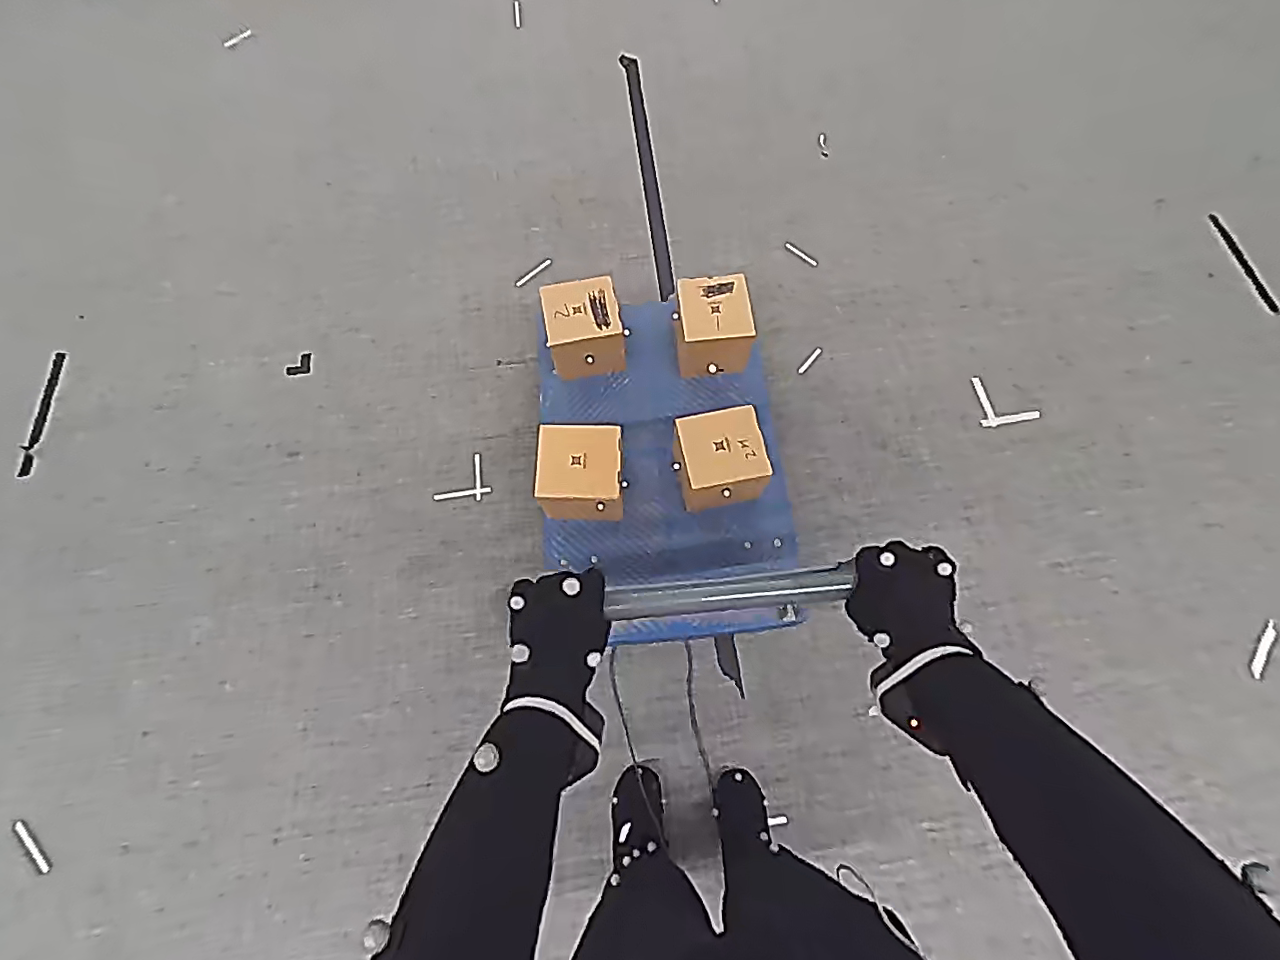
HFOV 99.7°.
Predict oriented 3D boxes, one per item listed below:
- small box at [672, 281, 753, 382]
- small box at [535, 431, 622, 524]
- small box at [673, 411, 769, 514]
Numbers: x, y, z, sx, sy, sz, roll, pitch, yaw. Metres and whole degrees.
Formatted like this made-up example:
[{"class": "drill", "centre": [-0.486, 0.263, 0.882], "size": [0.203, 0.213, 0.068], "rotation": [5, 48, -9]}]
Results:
[{"class": "small box", "centre": [0.172, -0.364, 1.343], "size": [0.168, 0.176, 0.179], "rotation": [-5, 71, -1]}, {"class": "small box", "centre": [-0.131, -0.001, 1.216], "size": [0.179, 0.176, 0.168], "rotation": [0, 70, -1]}, {"class": "small box", "centre": [0.174, -0.033, 1.223], "size": [0.179, 0.176, 0.168], "rotation": [-11, 70, -3]}]
